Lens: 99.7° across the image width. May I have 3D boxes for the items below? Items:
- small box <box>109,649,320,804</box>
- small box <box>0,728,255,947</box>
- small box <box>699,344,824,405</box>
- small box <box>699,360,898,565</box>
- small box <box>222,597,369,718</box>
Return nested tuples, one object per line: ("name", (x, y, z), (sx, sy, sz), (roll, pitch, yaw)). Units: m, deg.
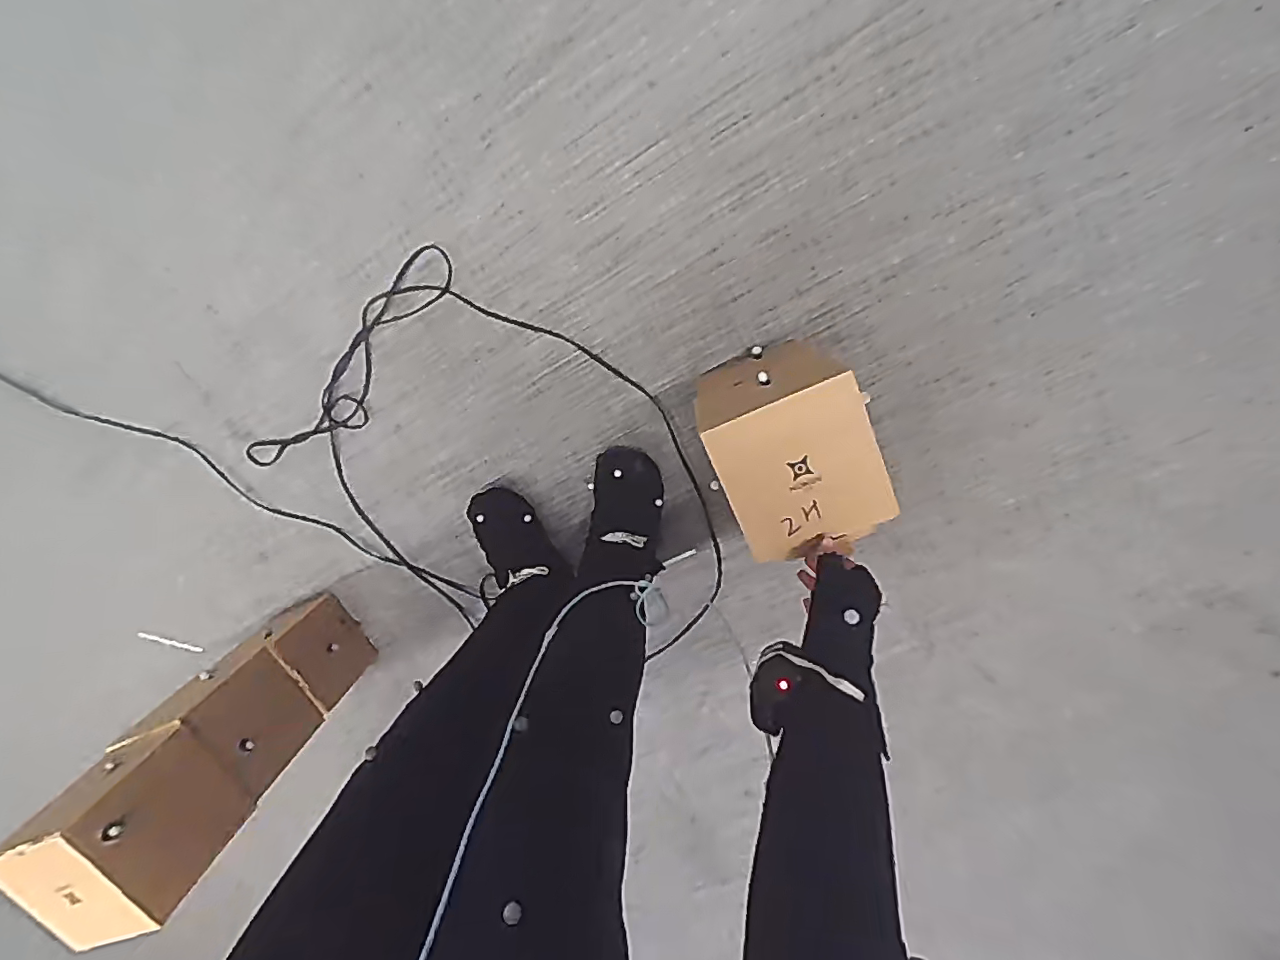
("small box", (-0.679, 0.414, 0.887), (0.168, 0.176, 0.179), (-23, 106, 13))
("small box", (-0.688, 0.480, 0.738), (0.168, 0.176, 0.179), (-23, 106, 14))
("small box", (0.192, -0.081, 0.790), (0.168, 0.176, 0.179), (-20, 108, 12))
("small box", (0.177, -0.032, 0.651), (0.168, 0.176, 0.179), (-22, 108, 12))
("small box", (-0.658, 0.353, 1.039), (0.179, 0.176, 0.168), (-24, 107, 13))
